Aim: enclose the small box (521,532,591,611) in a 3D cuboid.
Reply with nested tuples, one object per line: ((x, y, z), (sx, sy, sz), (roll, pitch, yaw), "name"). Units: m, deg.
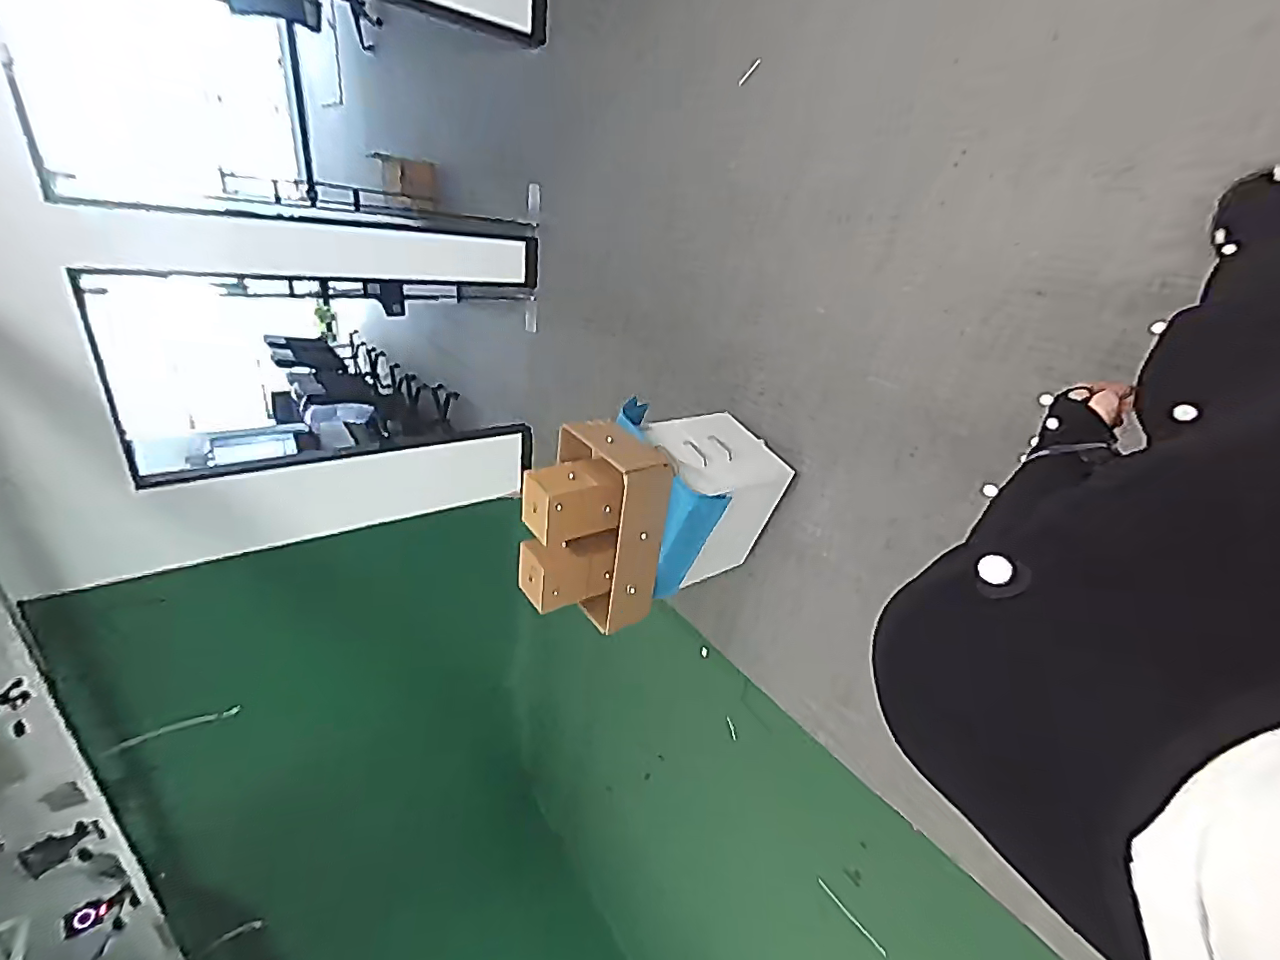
((-0.275, 0.293, 1.766), (0.168, 0.176, 0.179), (36, 127, 43), "small box")
